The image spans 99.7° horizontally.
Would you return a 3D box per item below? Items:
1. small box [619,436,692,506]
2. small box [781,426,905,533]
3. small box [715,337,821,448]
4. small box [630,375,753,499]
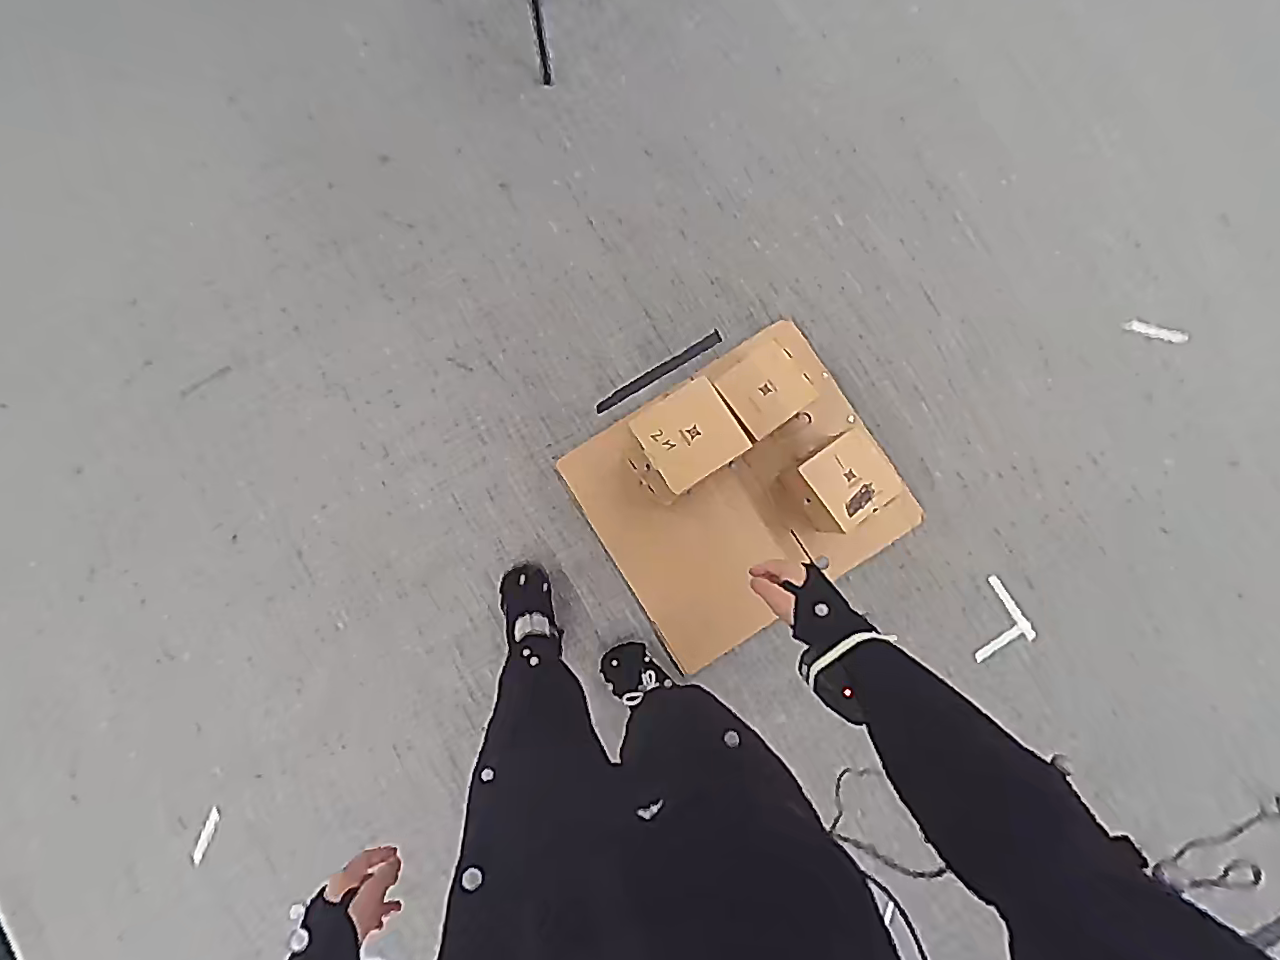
[{"bbox_3d":[0.074,-0.051,1.233,0.179,0.176,0.168,-37,87,-2],"label":"small box"},{"bbox_3d":[0.450,0.002,1.229,0.168,0.176,0.179,-36,86,-2],"label":"small box"},{"bbox_3d":[0.276,-0.191,1.246,0.179,0.176,0.168,-38,85,-3],"label":"small box"},{"bbox_3d":[0.094,-0.077,1.069,0.179,0.176,0.168,-33,85,-2],"label":"small box"}]
